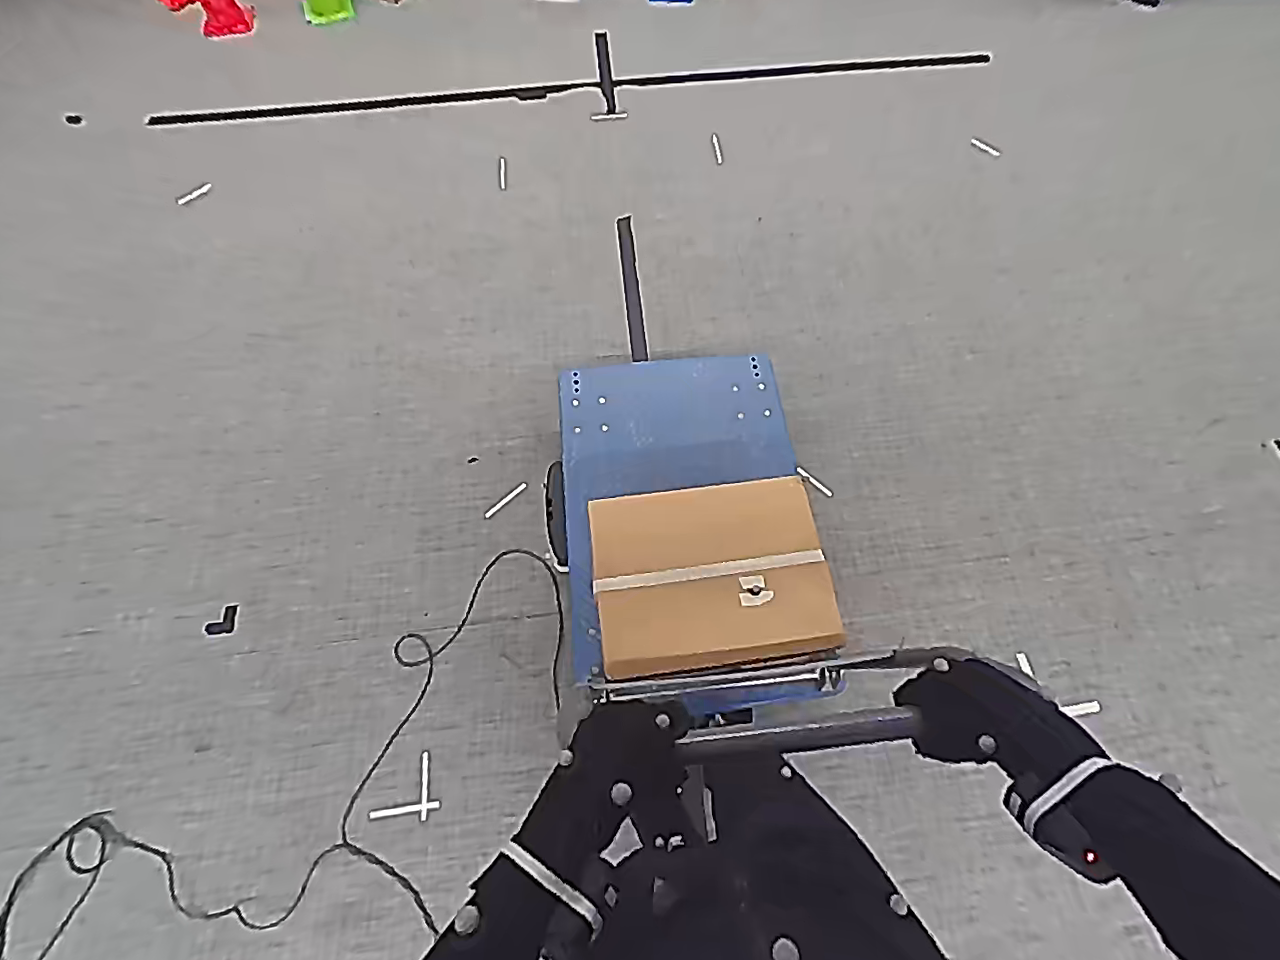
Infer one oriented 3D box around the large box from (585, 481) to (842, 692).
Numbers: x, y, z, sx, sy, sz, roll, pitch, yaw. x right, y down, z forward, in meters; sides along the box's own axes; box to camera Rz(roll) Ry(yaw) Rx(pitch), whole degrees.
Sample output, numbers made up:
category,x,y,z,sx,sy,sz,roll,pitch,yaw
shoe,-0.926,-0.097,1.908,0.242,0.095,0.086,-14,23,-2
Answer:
category,x,y,z,sx,sy,sz,roll,pitch,yaw
large box,0.114,0.224,1.071,0.408,0.320,0.320,-7,68,-4
